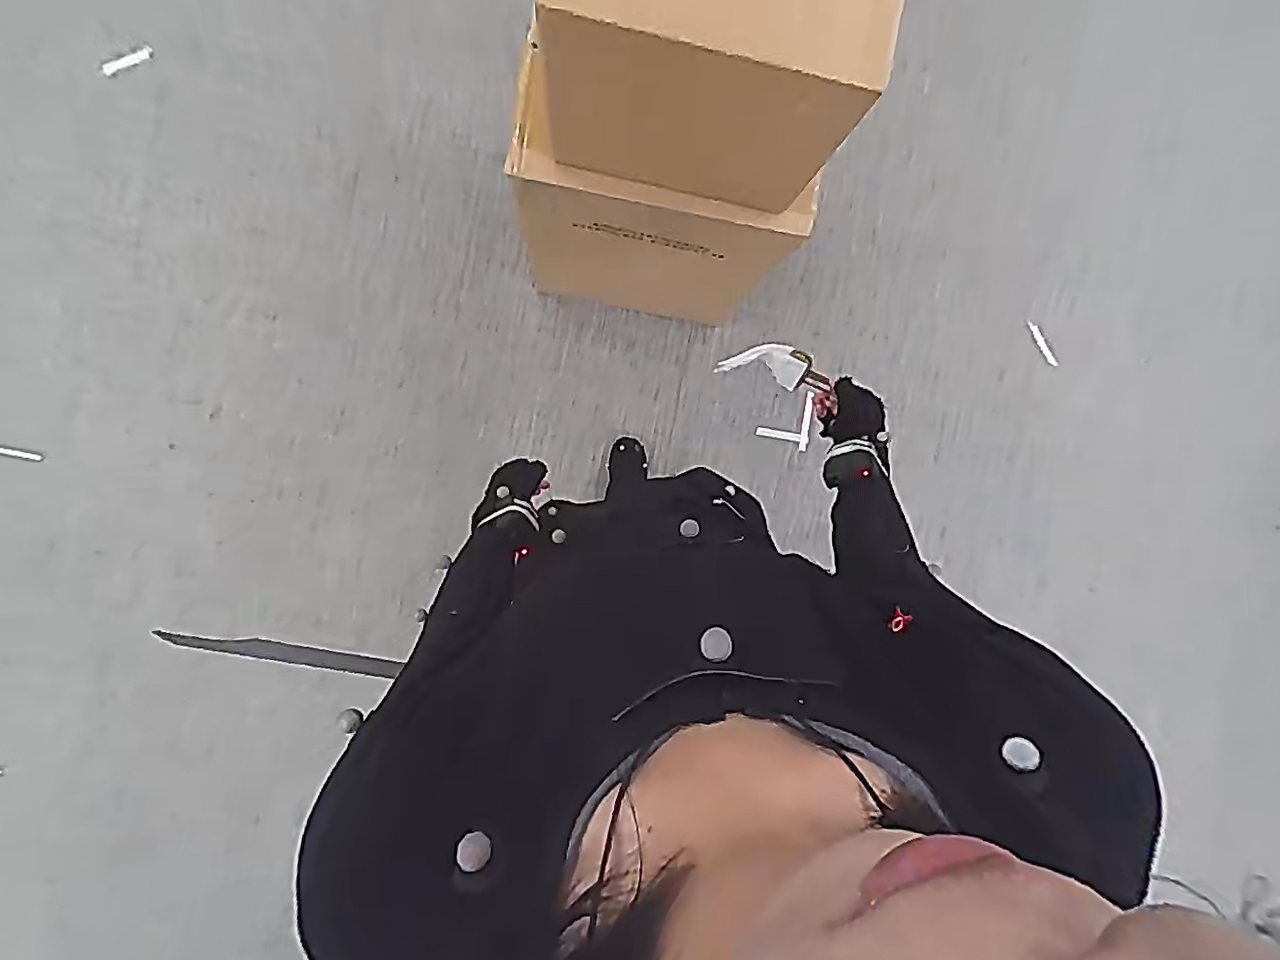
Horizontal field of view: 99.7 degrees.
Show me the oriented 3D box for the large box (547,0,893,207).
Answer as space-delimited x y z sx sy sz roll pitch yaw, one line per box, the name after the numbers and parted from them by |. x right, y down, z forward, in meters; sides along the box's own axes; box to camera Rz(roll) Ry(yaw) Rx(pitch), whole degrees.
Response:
0.092 -0.639 0.761 0.408 0.320 0.320 9 91 -7 | large box
